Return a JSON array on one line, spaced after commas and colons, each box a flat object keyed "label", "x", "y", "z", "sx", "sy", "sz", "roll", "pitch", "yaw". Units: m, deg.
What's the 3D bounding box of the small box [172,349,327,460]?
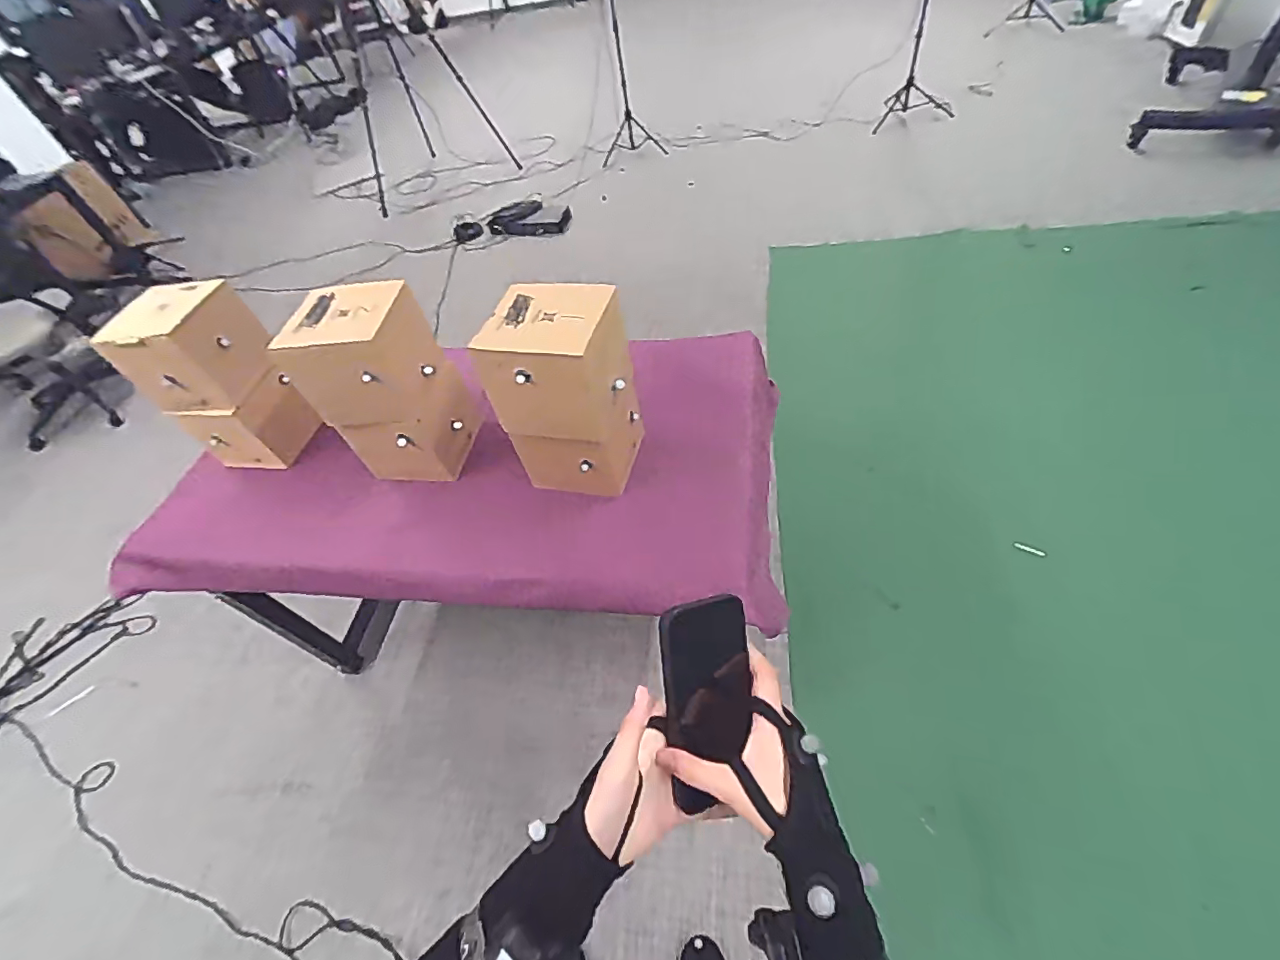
[{"label": "small box", "x": -0.814, "y": -0.158, "z": 1.152, "sx": 0.168, "sy": 0.176, "sz": 0.179, "roll": 3, "pitch": 52, "yaw": 13}]

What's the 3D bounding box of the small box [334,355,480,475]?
[{"label": "small box", "x": -0.438, "y": -0.124, "z": 1.053, "sx": 0.179, "sy": 0.176, "sz": 0.168, "roll": 3, "pitch": 52, "yaw": 13}]

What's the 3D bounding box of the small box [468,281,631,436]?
[{"label": "small box", "x": -0.126, "y": -0.186, "z": 0.835, "sx": 0.179, "sy": 0.176, "sz": 0.168, "roll": 8, "pitch": 53, "yaw": 16}]

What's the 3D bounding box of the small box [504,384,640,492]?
[{"label": "small box", "x": -0.108, "y": -0.096, "z": 0.971, "sx": 0.179, "sy": 0.176, "sz": 0.168, "roll": 8, "pitch": 53, "yaw": 17}]

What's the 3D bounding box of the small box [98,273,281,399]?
[{"label": "small box", "x": -0.837, "y": -0.267, "z": 1.031, "sx": 0.168, "sy": 0.176, "sz": 0.179, "roll": 0, "pitch": 52, "yaw": 9}]
